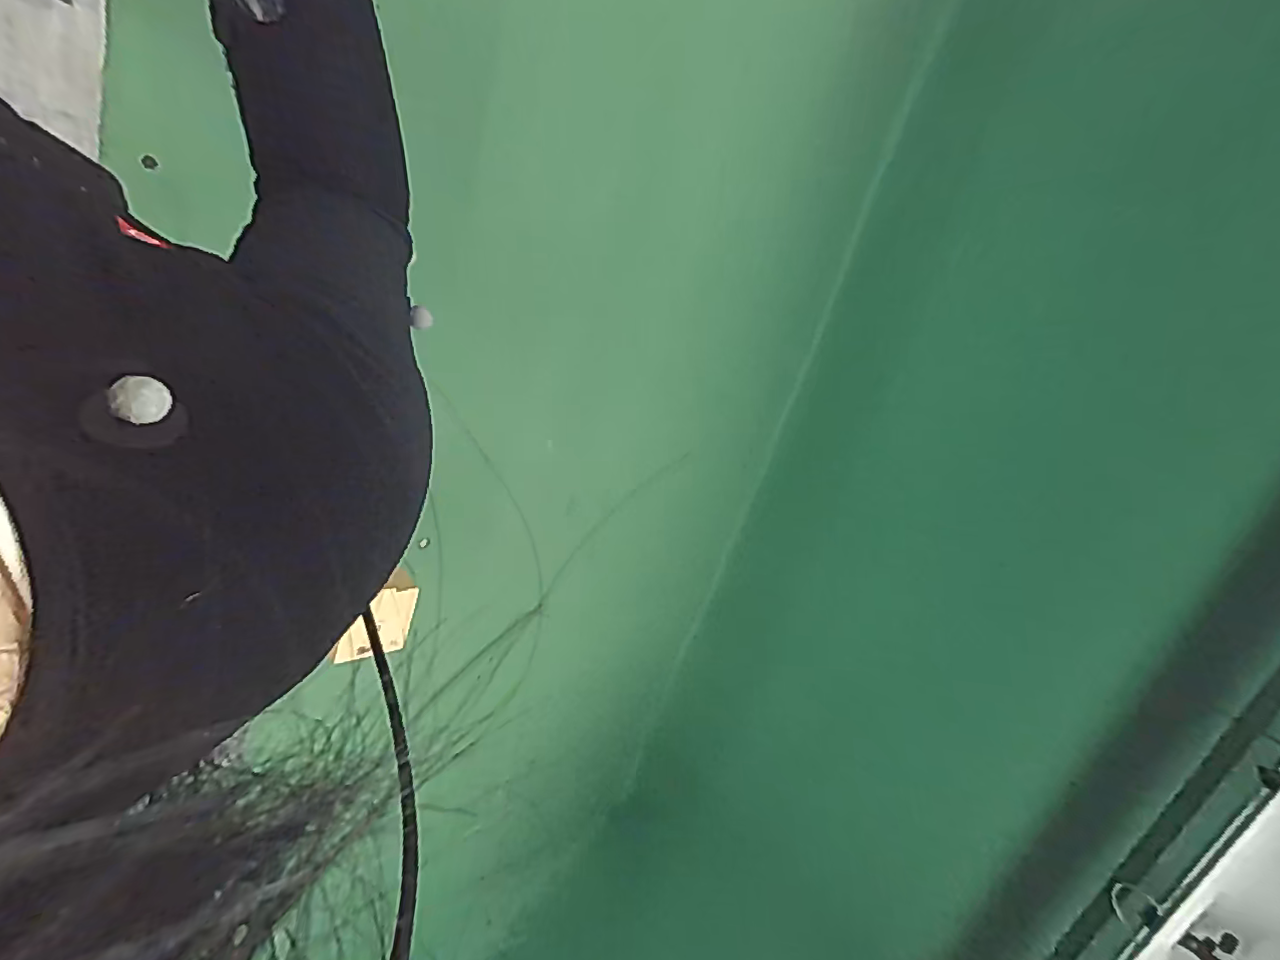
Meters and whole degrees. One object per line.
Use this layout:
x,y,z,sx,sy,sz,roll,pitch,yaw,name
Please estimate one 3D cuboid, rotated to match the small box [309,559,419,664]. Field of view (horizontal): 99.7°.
-0.663,0.301,1.290,0.168,0.176,0.179,3,112,-52,small box
